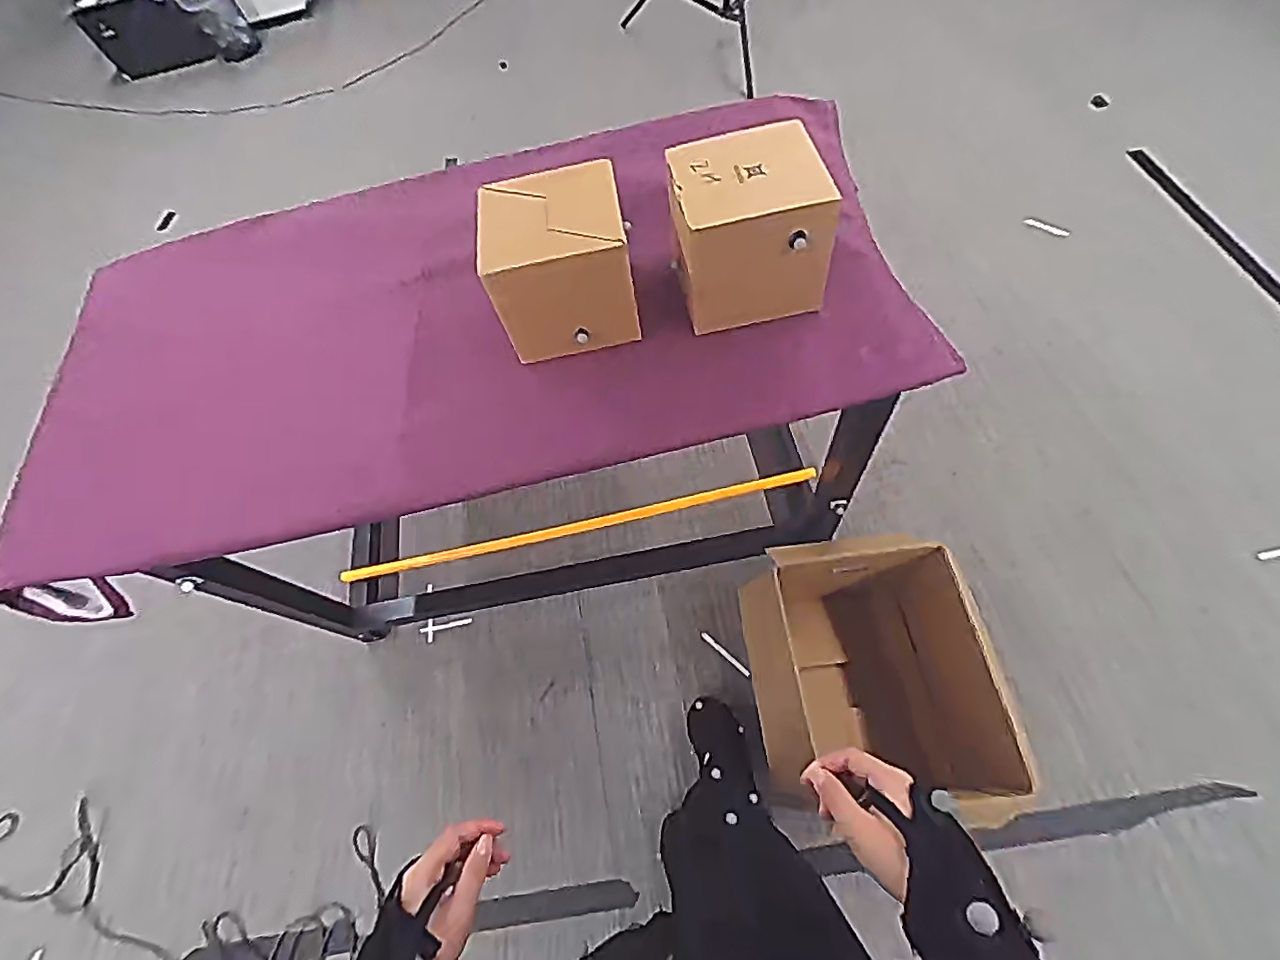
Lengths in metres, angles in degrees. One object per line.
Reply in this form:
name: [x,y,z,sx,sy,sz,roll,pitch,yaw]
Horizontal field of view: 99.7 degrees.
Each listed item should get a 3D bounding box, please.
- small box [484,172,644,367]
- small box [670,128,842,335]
small box: [-0.101,-0.283,0.732,0.179,0.176,0.168,-11,61,3]
small box: [0.142,-0.320,0.716,0.179,0.176,0.168,-11,60,3]
